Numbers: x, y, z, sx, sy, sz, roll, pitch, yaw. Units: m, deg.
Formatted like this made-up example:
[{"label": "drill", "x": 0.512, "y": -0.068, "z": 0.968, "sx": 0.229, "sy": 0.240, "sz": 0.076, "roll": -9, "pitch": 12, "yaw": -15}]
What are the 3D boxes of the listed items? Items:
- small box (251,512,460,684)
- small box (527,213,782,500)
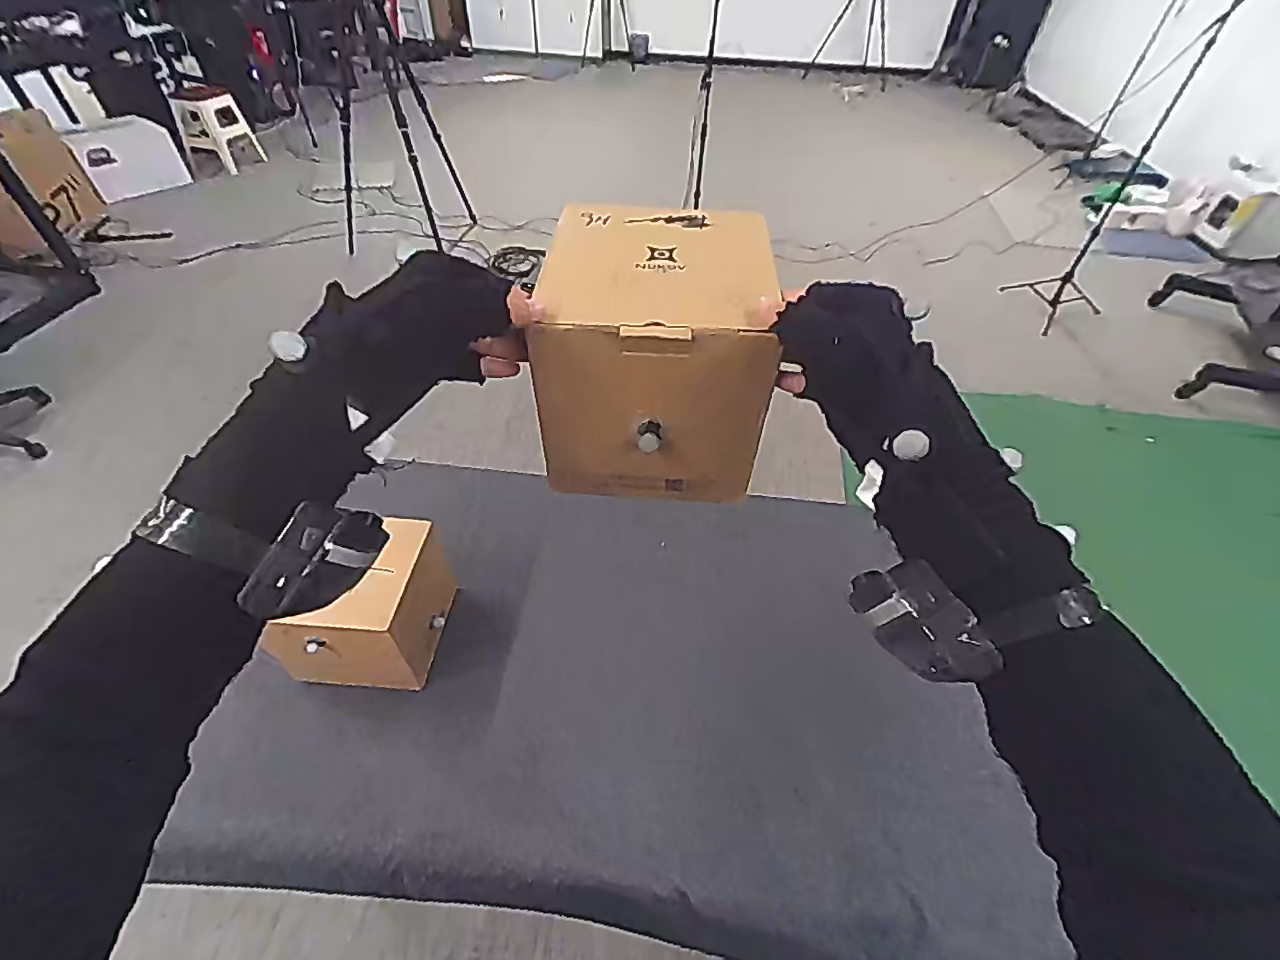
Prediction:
[{"label": "small box", "x": -0.369, "y": 0.164, "z": 0.742, "sx": 0.179, "sy": 0.176, "sz": 0.168, "roll": 5, "pitch": 47, "yaw": 0}, {"label": "small box", "x": 0.015, "y": -0.100, "z": 0.453, "sx": 0.168, "sy": 0.176, "sz": 0.179, "roll": 3, "pitch": 50, "yaw": 2}]
